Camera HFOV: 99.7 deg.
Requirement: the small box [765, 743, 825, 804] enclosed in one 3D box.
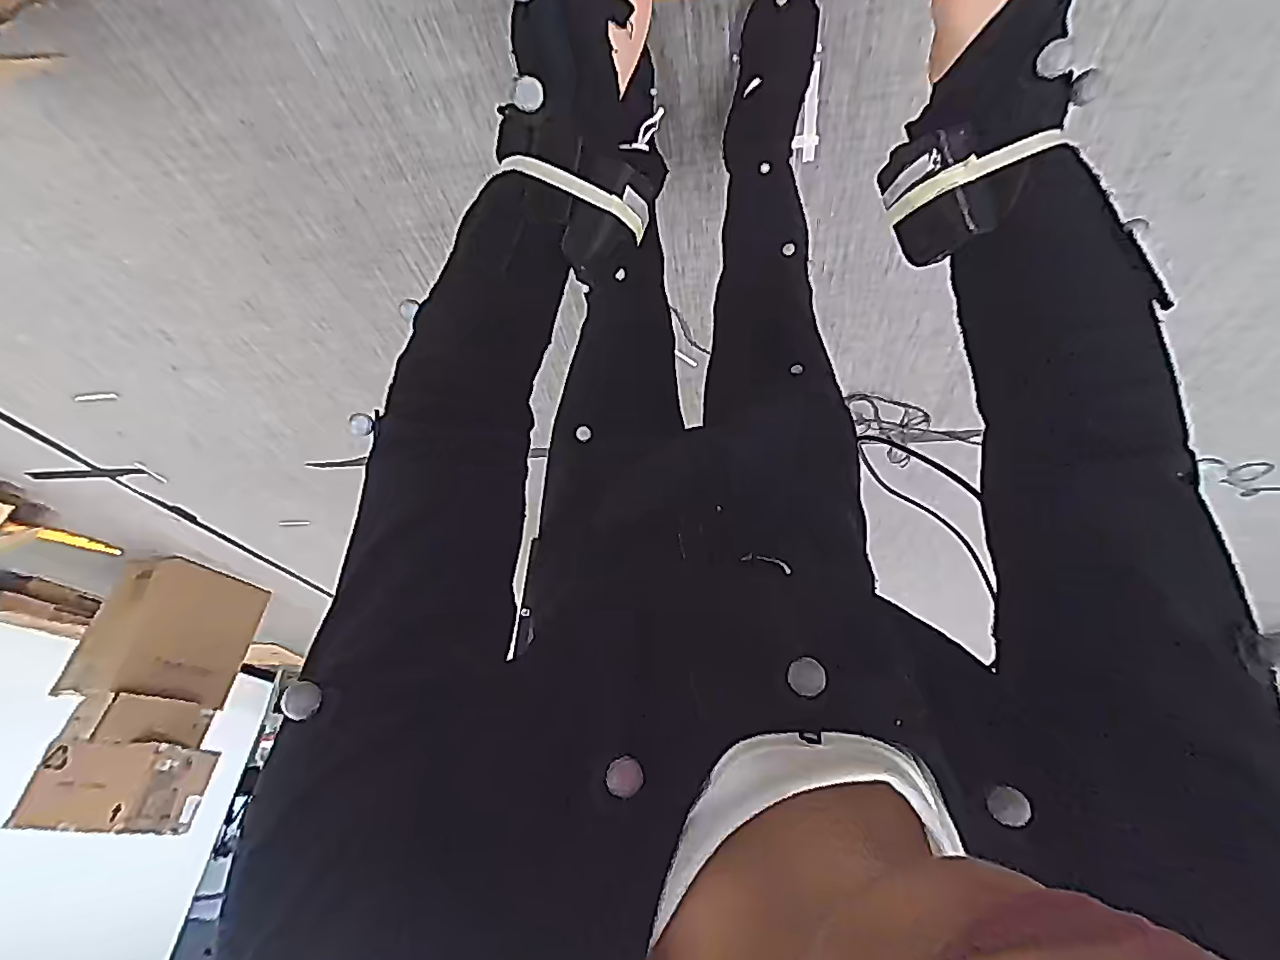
[{"bbox_3d":[0.531,1.021,1.878,0.168,0.176,0.179,1,146,3],"label":"small box"}]
